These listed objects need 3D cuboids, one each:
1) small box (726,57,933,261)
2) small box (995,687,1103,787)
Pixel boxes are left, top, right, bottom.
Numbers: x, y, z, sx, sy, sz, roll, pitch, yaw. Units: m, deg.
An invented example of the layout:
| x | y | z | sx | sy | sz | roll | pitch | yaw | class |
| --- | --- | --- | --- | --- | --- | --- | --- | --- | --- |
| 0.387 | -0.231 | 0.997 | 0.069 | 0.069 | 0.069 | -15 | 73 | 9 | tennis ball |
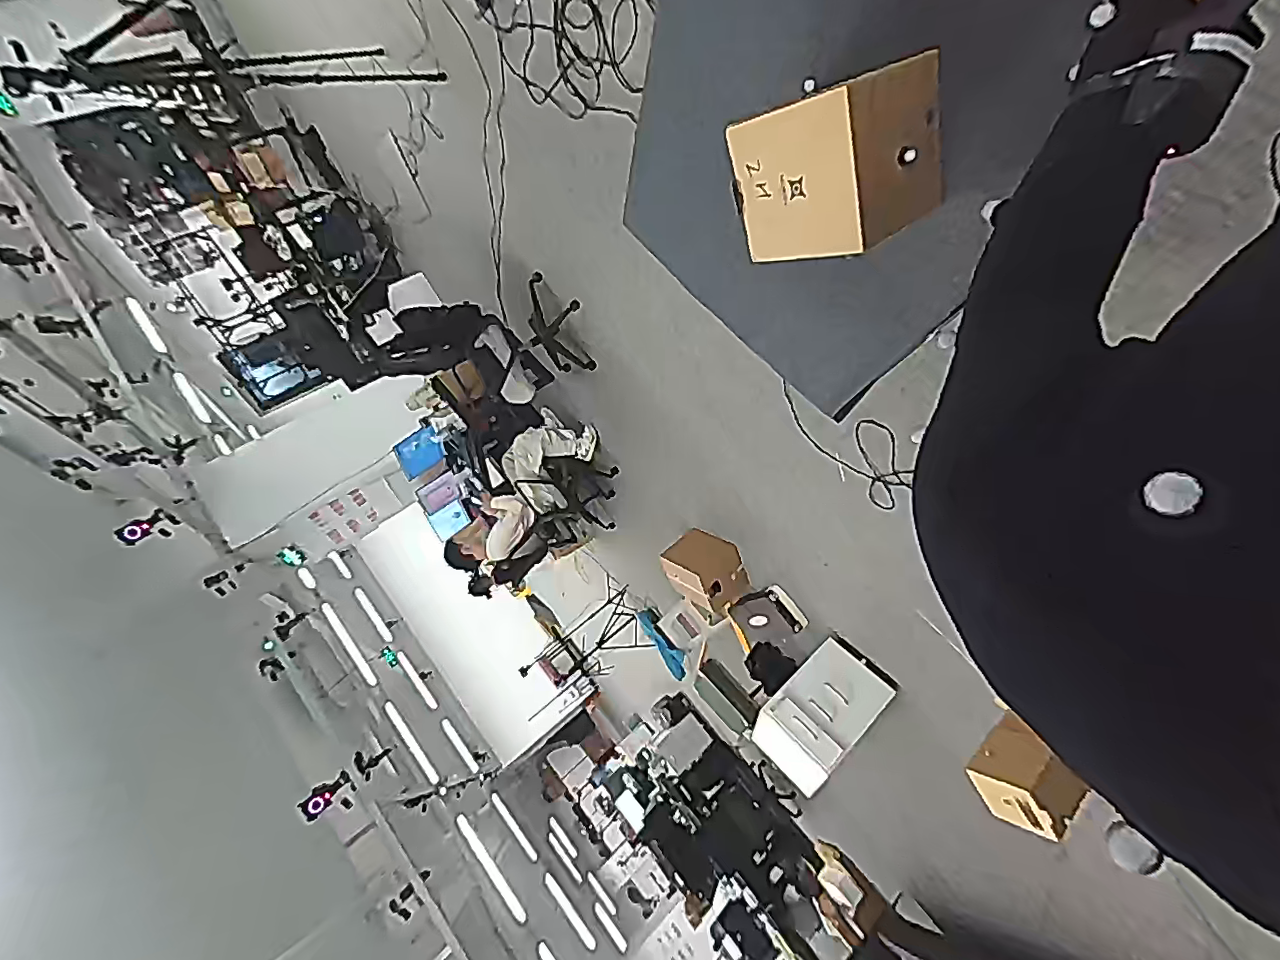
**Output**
| x | y | z | sx | sy | sz | roll | pitch | yaw | class |
| --- | --- | --- | --- | --- | --- | --- | --- | --- | --- |
| 0.241 | -0.389 | 0.671 | 0.179 | 0.176 | 0.168 | 24 | 142 | 51 | small box |
| 1.160 | 0.714 | 1.525 | 0.168 | 0.176 | 0.179 | 57 | 155 | -5 | small box |
